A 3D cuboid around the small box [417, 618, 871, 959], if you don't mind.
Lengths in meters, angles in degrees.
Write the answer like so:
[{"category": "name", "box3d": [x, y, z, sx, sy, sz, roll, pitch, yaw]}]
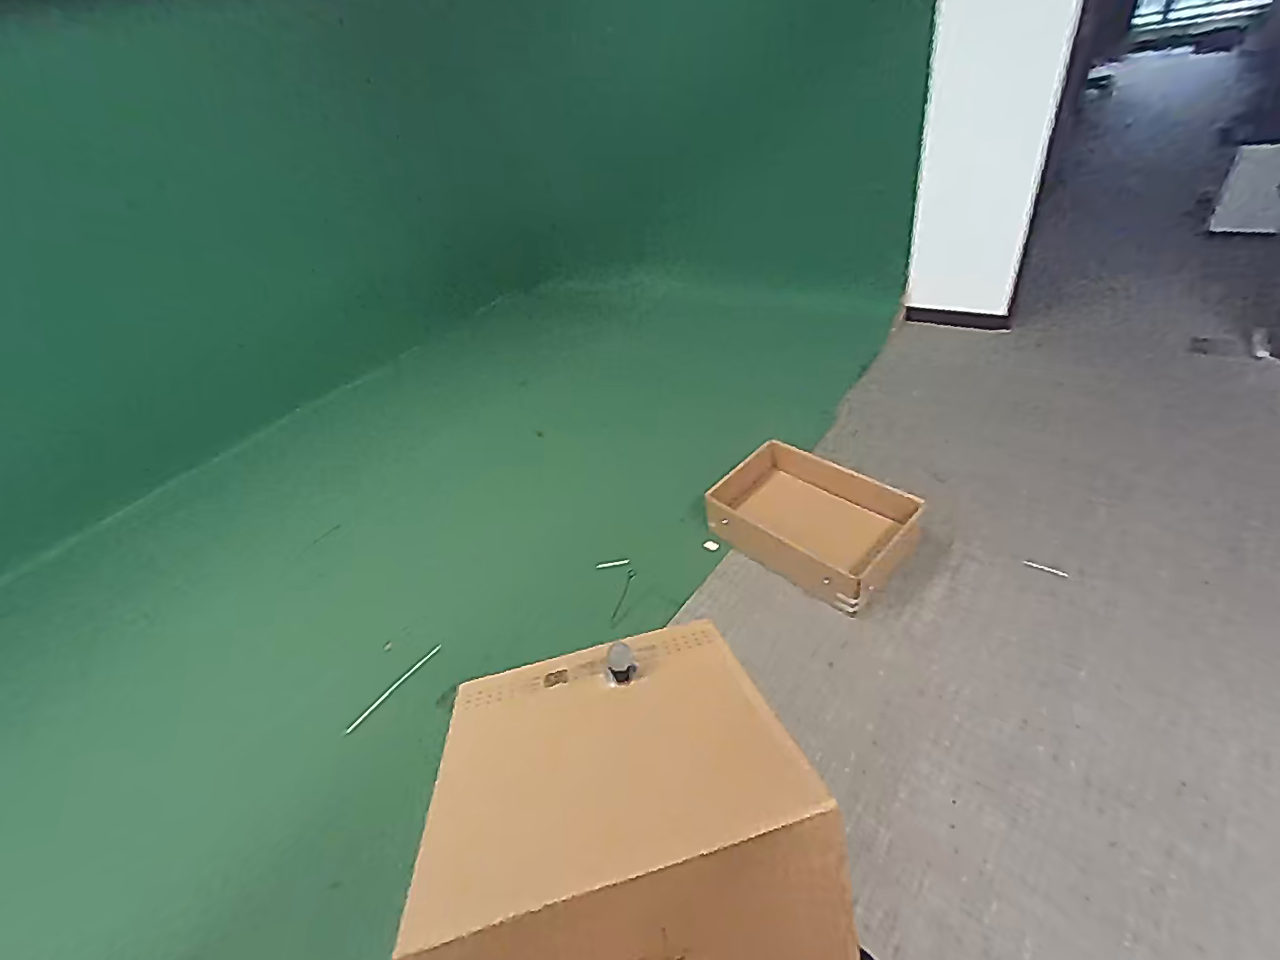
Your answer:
[{"category": "small box", "box3d": [0.003, 0.203, 0.291, 0.168, 0.179, 0.176, -13, 13, -7]}]
